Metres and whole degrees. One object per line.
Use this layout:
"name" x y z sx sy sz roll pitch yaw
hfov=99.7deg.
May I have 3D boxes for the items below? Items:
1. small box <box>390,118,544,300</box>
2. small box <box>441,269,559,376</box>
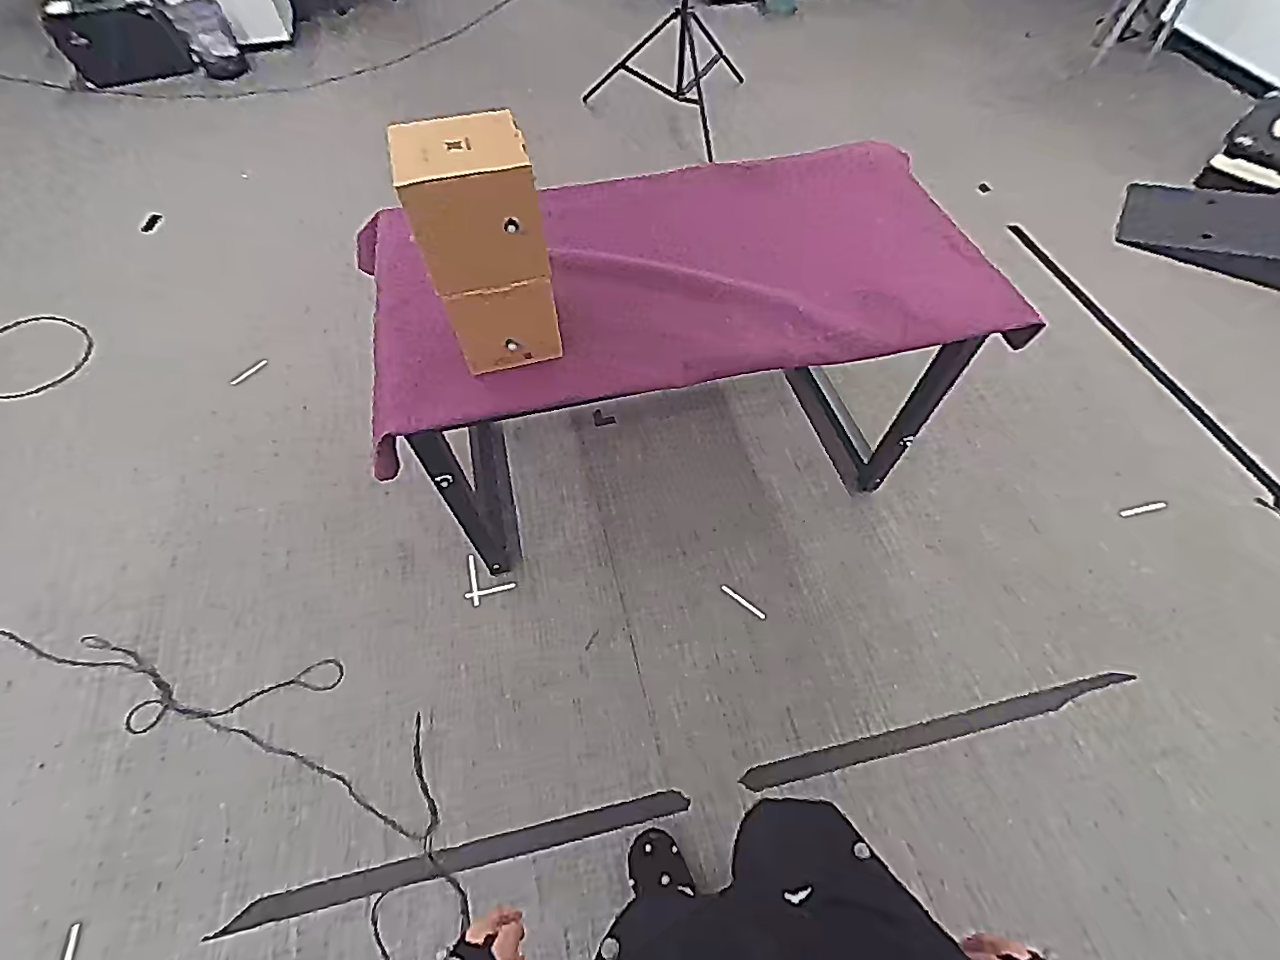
"small box" -0.246 -0.396 0.800 0.179 0.176 0.168 -16 58 -9
"small box" -0.244 -0.310 0.937 0.168 0.176 0.179 -14 59 -8
